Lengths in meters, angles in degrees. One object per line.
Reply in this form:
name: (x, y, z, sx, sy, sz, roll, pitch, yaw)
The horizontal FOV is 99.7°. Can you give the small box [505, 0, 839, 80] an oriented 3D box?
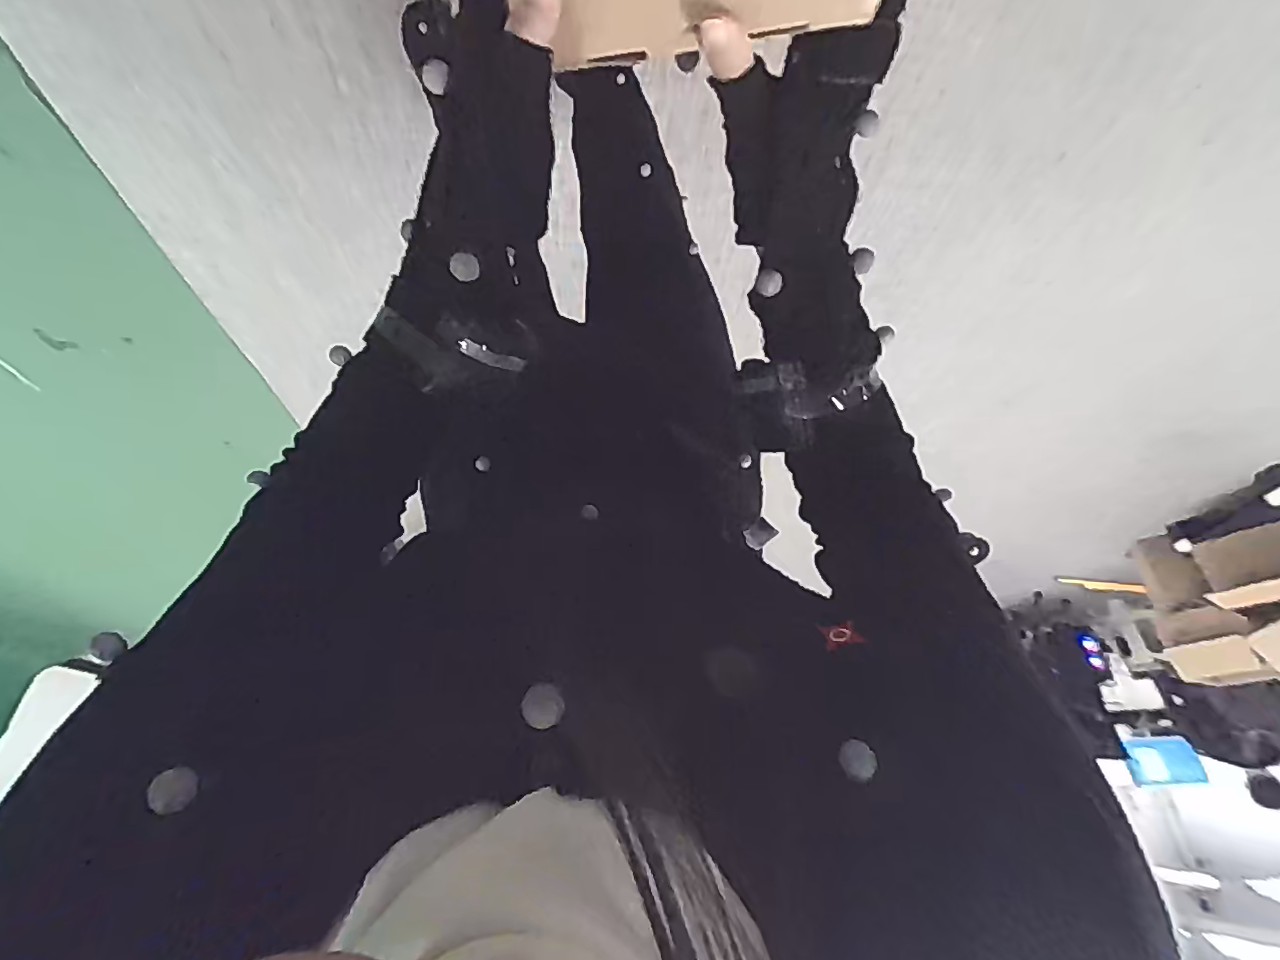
small box: (0.010, -0.337, 0.278, 0.168, 0.176, 0.179, -5, 132, 9)
